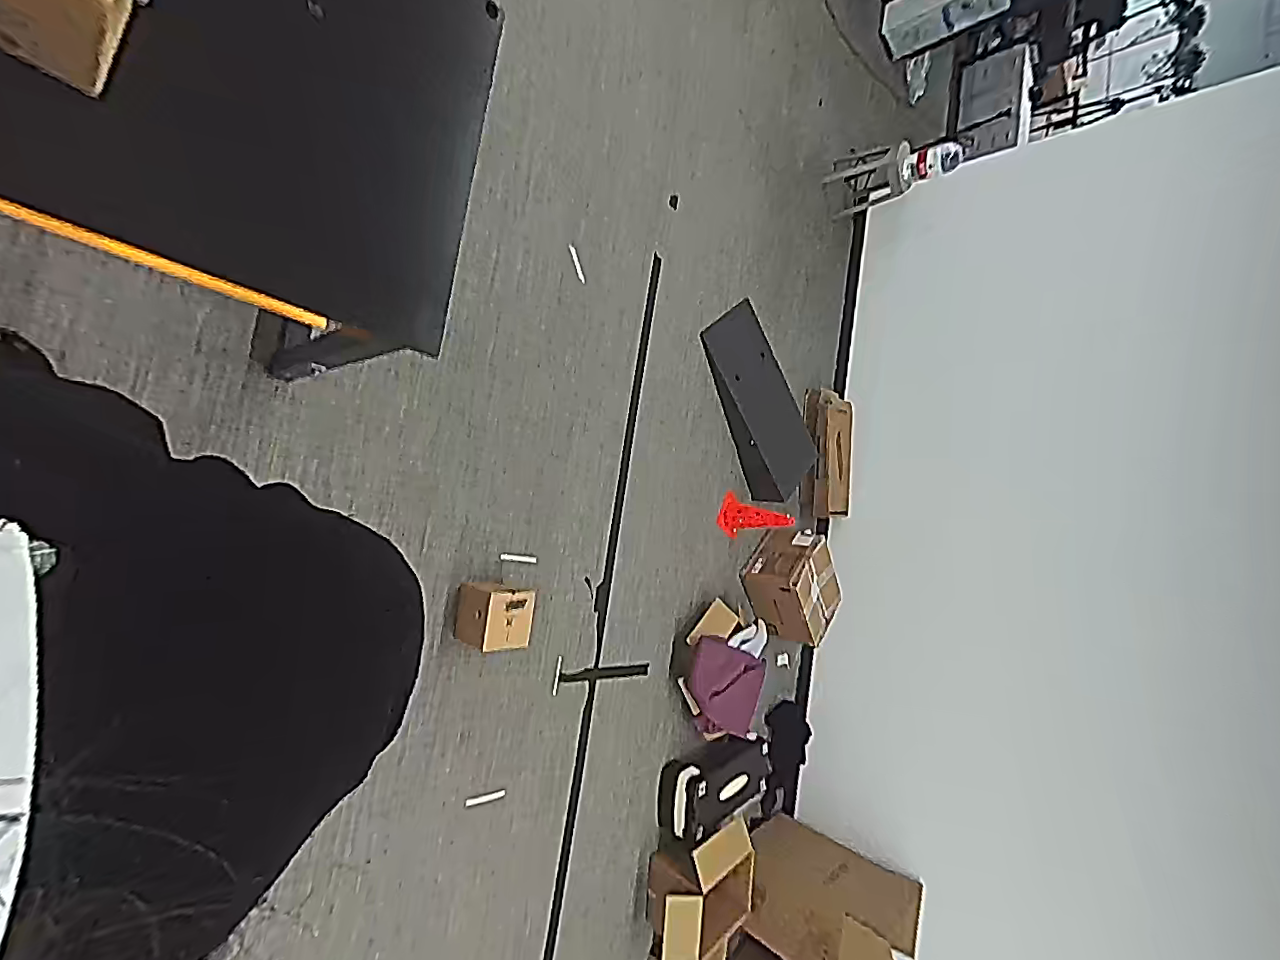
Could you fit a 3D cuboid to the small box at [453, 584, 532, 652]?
[{"bbox_3d":[-0.464,0.424,1.687,0.168,0.176,0.179,12,84,-48],"label":"small box"}]
